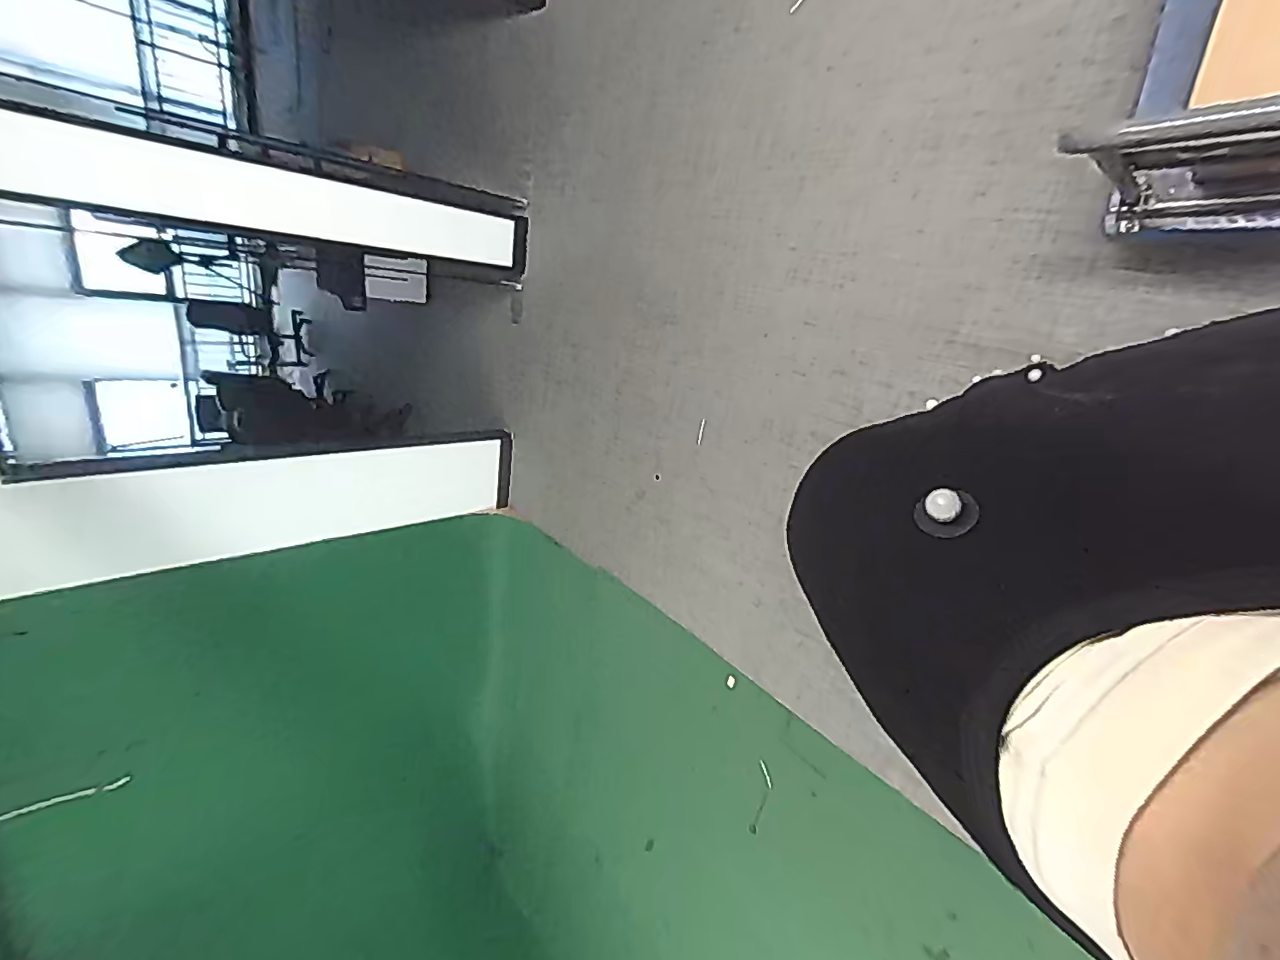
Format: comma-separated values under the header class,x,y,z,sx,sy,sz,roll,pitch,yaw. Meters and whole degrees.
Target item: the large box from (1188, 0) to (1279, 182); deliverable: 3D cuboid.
class,x,y,z,sx,sy,sz,roll,pitch,yaw
large box,1.040,-0.691,0.748,0.320,0.320,0.408,20,110,44
